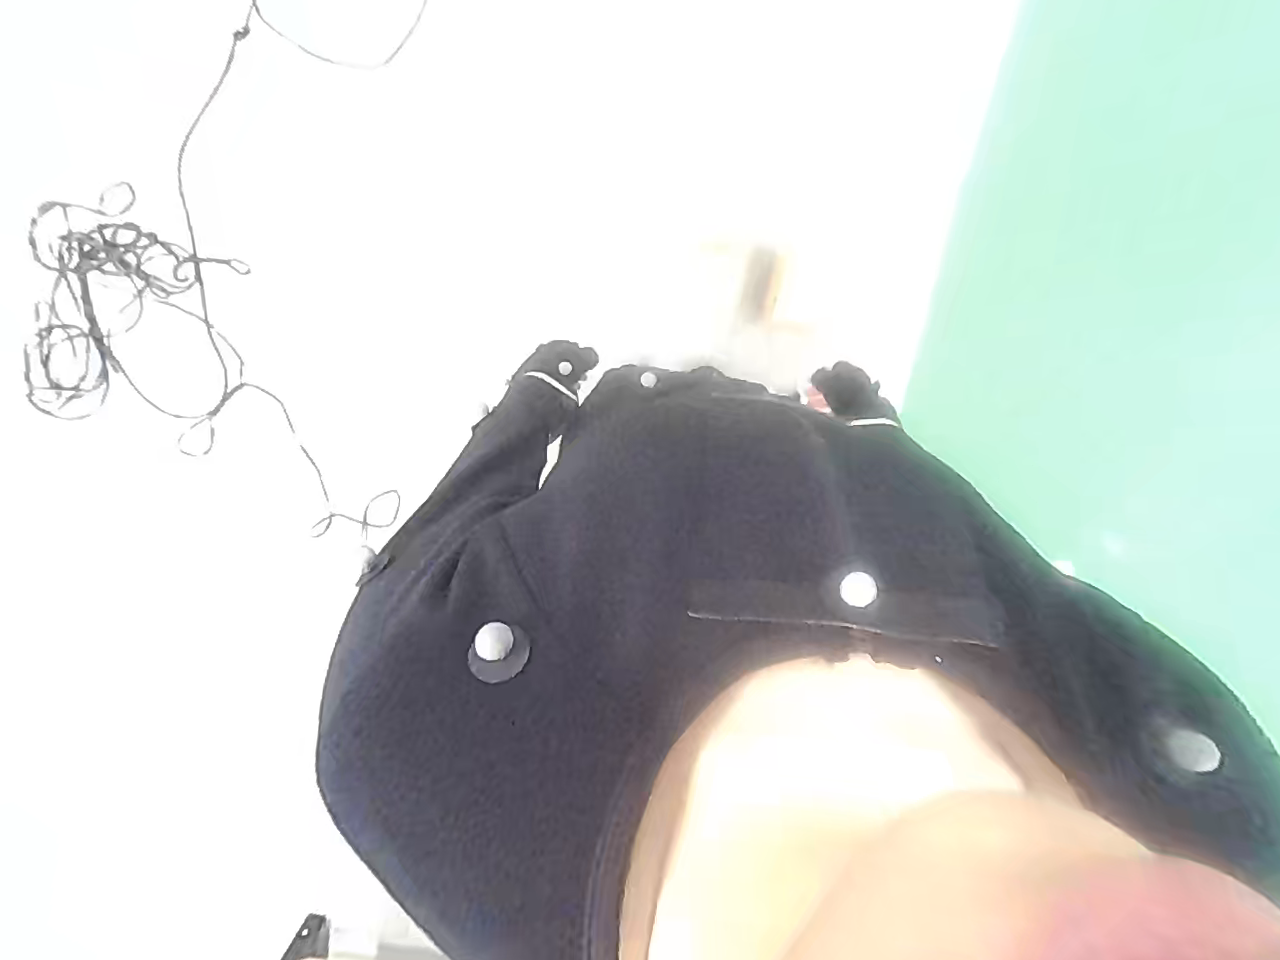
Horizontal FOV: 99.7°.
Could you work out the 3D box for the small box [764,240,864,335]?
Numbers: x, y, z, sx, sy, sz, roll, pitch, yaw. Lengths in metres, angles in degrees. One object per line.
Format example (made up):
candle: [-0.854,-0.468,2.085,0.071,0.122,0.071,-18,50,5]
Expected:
small box: [0.406,-0.452,1.299,0.168,0.176,0.179,11,101,-2]
